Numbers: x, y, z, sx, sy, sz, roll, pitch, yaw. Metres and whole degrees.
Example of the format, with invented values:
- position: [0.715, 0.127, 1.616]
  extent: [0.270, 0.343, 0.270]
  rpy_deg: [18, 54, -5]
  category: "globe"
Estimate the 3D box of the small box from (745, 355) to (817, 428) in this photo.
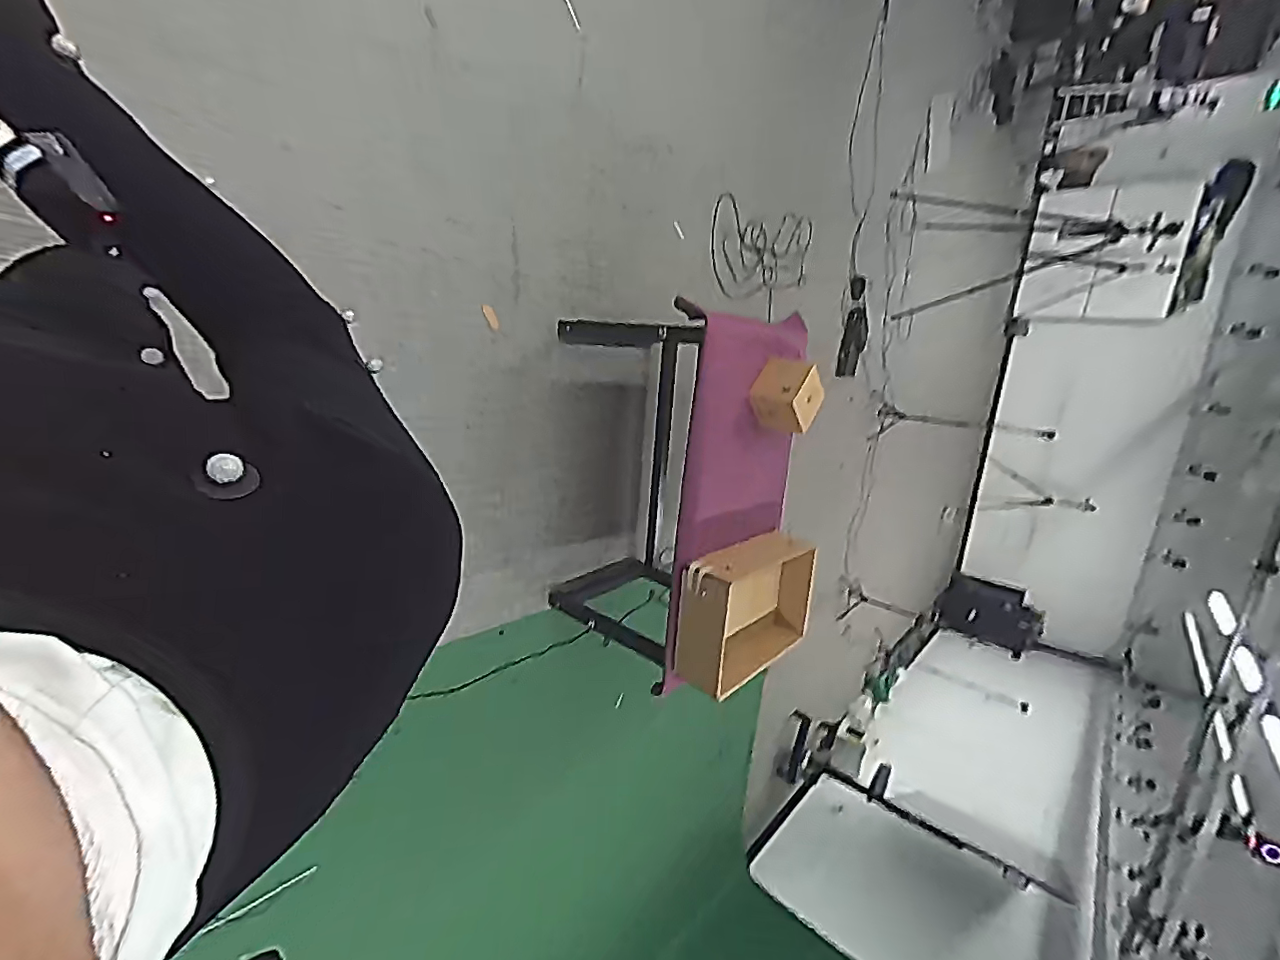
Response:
- position: [0.472, -0.301, 1.827]
  extent: [0.179, 0.176, 0.168]
  rpy_deg: [-58, 139, -19]
  category: "small box"
